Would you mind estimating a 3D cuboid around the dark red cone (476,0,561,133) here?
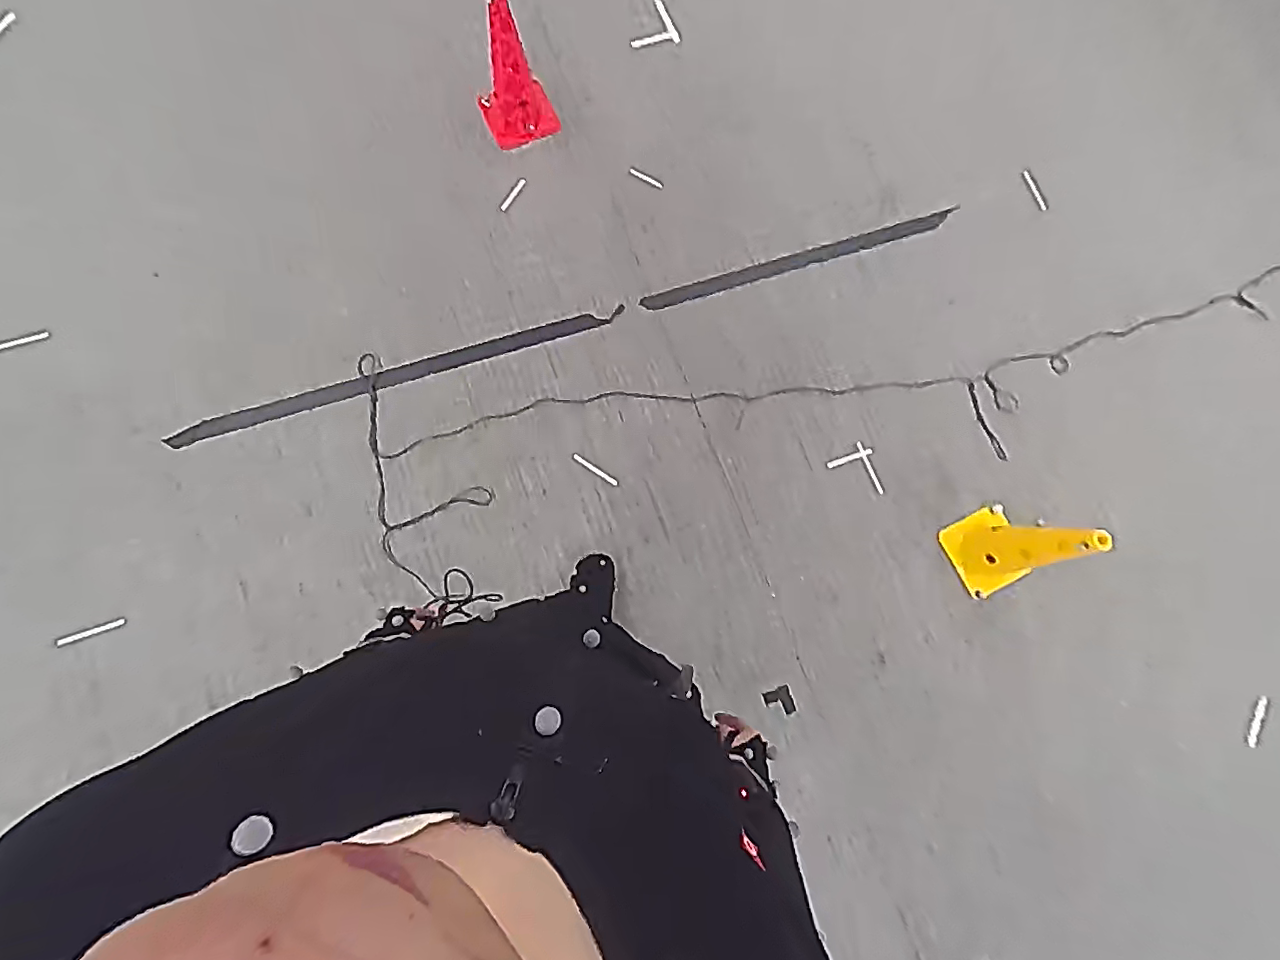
[{"bbox_3d":[-0.343,-1.139,1.414,0.202,0.394,0.201,-26,83,-8],"label":"dark red cone"}]
